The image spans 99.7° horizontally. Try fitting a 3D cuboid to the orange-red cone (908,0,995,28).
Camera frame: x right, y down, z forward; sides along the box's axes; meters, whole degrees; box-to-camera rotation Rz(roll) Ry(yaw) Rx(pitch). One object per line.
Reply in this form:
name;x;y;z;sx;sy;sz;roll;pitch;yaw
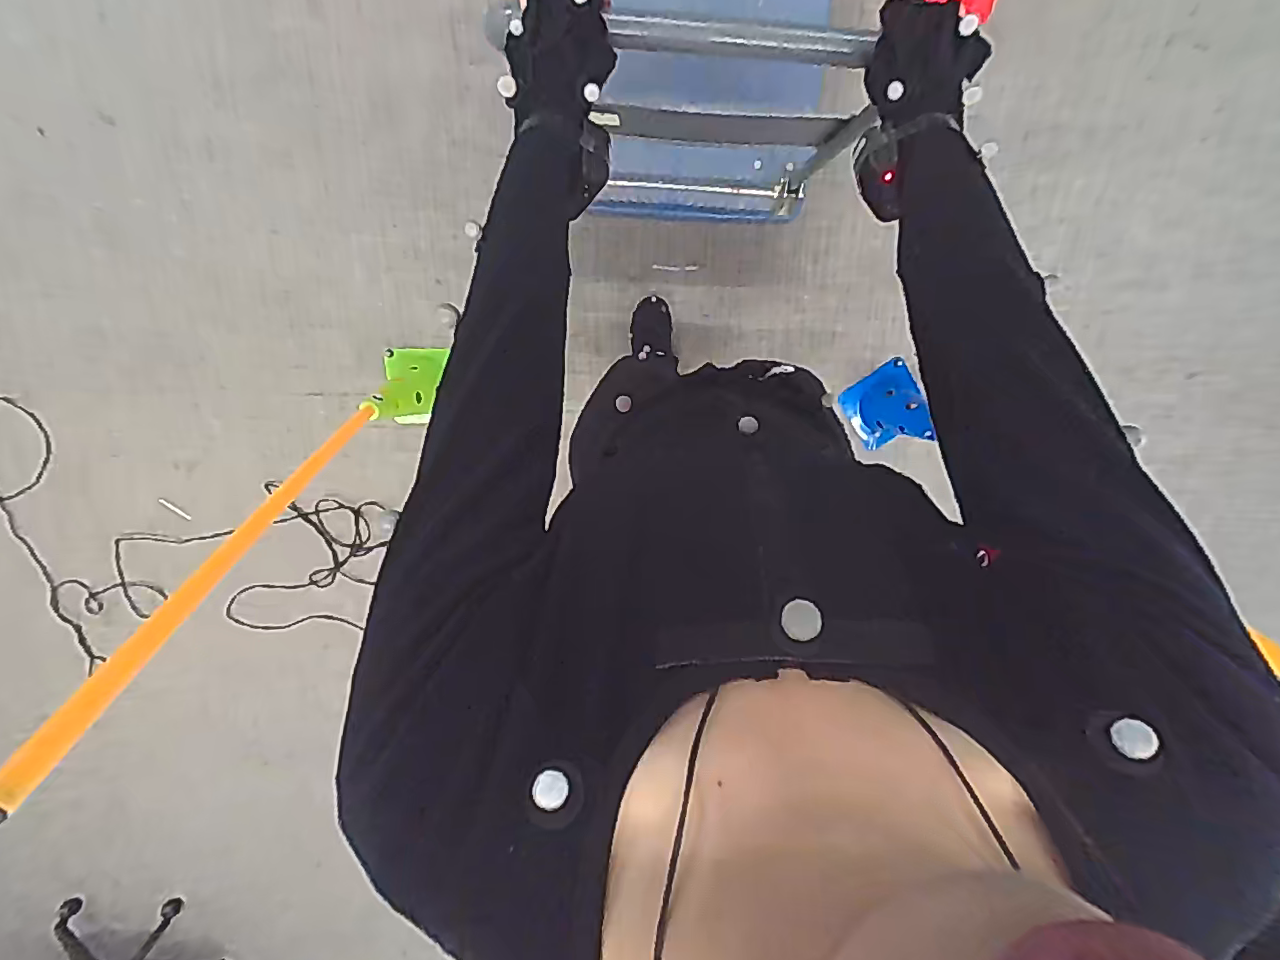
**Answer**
orange-red cone;0.710;-1.078;1.029;0.198;0.360;0.199;12;107;-4
